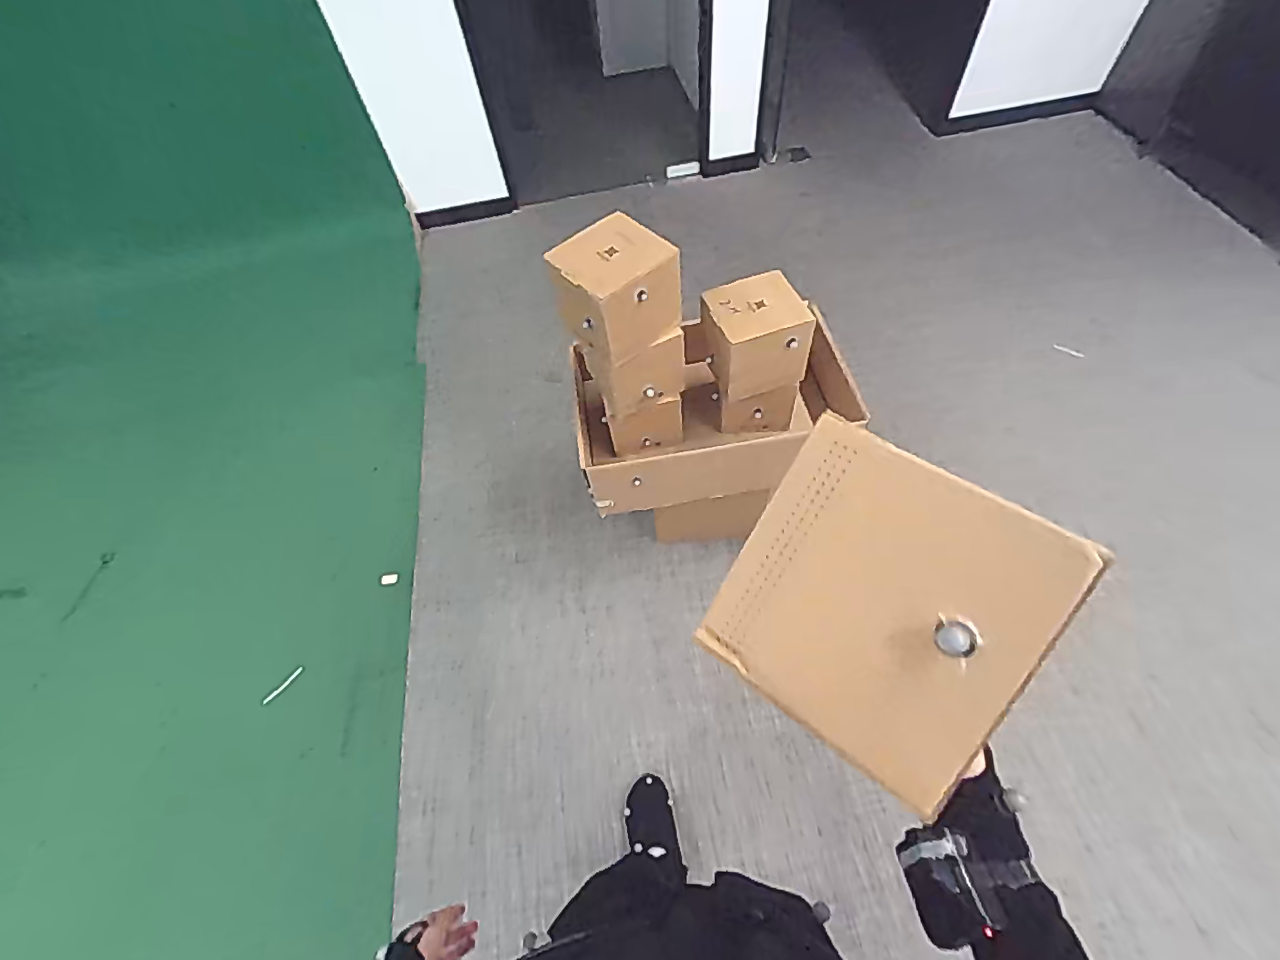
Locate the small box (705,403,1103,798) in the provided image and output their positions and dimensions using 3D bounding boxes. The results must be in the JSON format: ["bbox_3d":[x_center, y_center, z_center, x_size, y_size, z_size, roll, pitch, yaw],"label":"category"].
[{"bbox_3d":[0.166,0.072,0.389,0.176,0.168,0.179,33,97,26],"label":"small box"}]

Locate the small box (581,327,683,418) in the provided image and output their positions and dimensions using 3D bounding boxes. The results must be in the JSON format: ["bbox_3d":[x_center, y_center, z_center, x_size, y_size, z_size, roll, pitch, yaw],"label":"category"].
[{"bbox_3d":[-0.021,-0.262,1.128,0.168,0.176,0.179,-25,59,-9],"label":"small box"}]

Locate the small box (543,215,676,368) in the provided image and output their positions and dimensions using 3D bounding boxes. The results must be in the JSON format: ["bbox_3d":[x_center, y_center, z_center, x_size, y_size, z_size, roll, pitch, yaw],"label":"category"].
[{"bbox_3d":[-0.045,-0.338,0.986,0.179,0.176,0.168,-37,62,-17],"label":"small box"}]

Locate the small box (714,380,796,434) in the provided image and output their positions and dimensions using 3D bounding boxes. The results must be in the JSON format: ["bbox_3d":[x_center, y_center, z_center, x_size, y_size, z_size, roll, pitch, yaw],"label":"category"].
[{"bbox_3d":[0.263,-0.221,1.271,0.168,0.176,0.179,-1,58,4],"label":"small box"}]

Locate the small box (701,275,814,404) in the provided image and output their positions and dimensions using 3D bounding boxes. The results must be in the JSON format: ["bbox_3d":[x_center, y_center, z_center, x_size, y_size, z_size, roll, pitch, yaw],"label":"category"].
[{"bbox_3d":[0.232,-0.287,1.120,0.179,0.176,0.168,-17,56,-4],"label":"small box"}]
